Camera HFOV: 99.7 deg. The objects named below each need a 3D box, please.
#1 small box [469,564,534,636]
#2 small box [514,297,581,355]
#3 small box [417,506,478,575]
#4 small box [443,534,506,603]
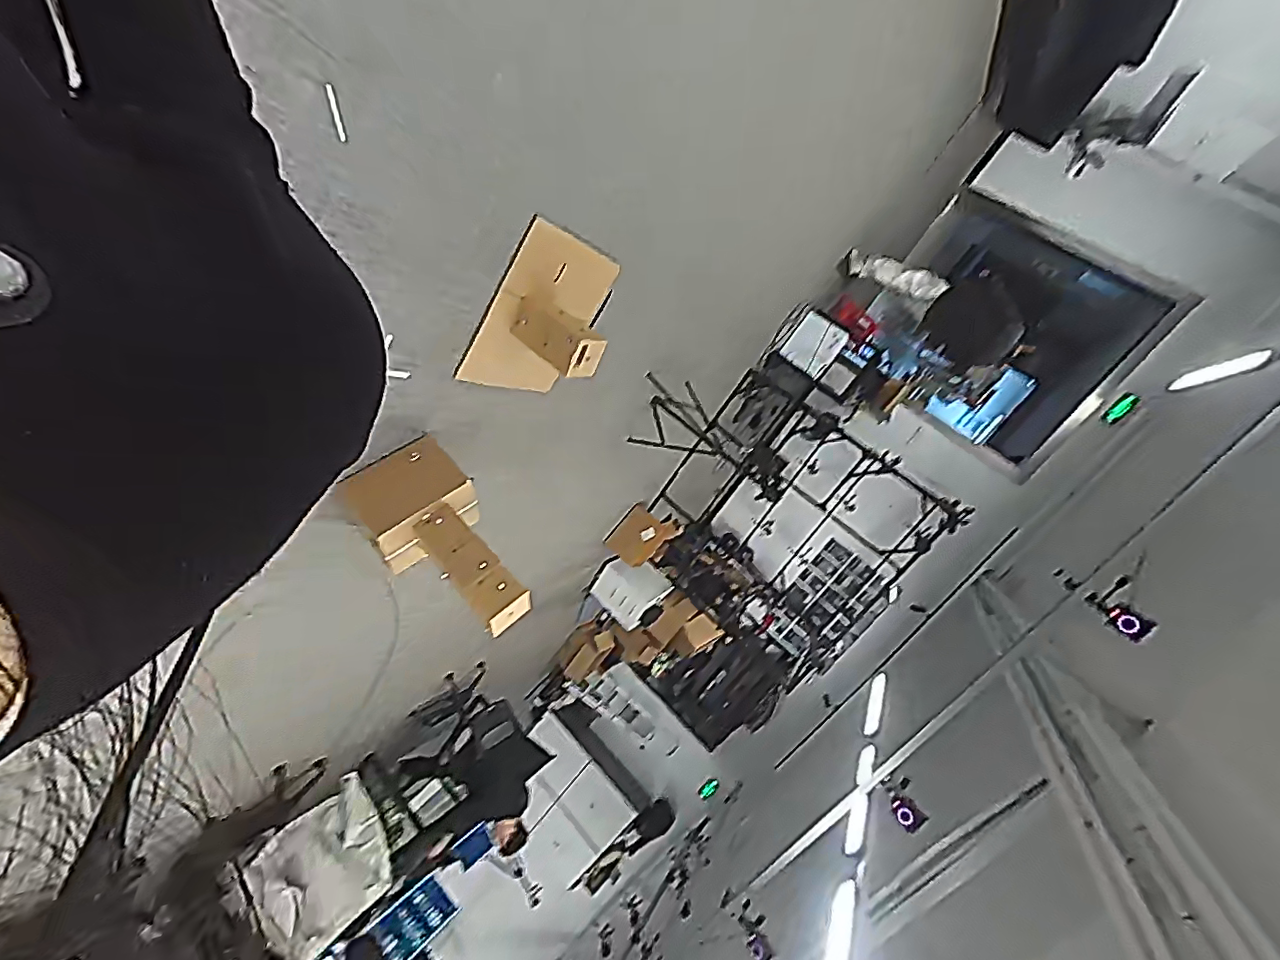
[{"bbox_3d":[-0.515,0.439,2.008,0.168,0.176,0.179,-38,158,-28],"label":"small box"},{"bbox_3d":[-0.377,-0.626,2.193,0.179,0.176,0.168,-16,140,-56],"label":"small box"},{"bbox_3d":[-0.744,0.234,2.119,0.168,0.176,0.179,-38,157,-29],"label":"small box"},{"bbox_3d":[-0.628,0.337,2.066,0.168,0.176,0.179,-38,158,-29],"label":"small box"}]
